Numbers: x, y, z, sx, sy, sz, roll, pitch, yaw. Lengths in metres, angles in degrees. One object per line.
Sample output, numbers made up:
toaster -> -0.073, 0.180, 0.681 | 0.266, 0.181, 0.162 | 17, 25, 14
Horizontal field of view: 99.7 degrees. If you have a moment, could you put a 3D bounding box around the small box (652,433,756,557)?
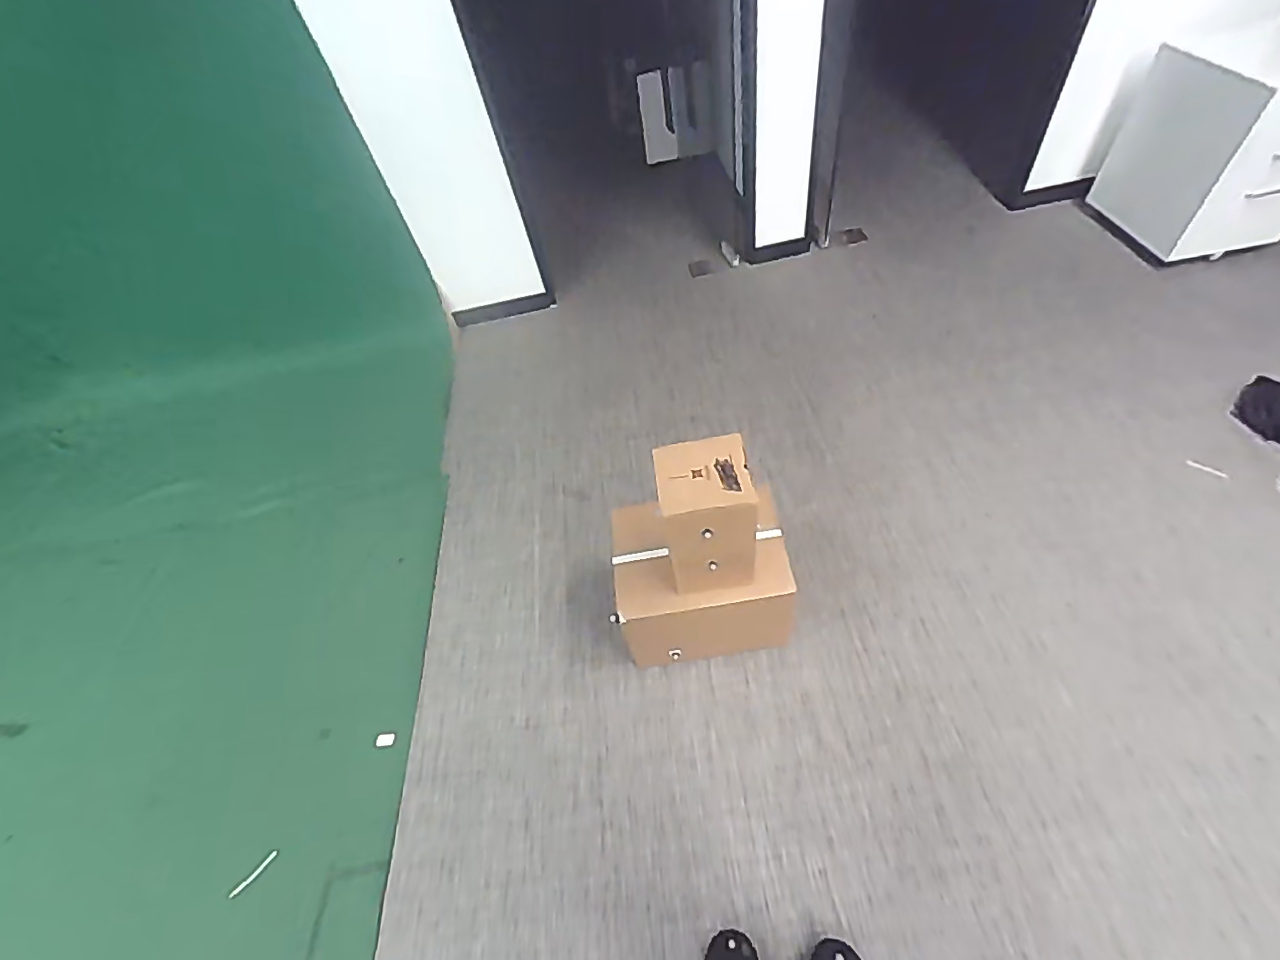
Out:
small box -> 0.127, 0.034, 1.069 | 0.179, 0.176, 0.168 | -10, 52, 6

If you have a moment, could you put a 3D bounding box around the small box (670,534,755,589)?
small box -> 0.153, 0.128, 1.202 | 0.179, 0.176, 0.168 | -10, 53, 3
